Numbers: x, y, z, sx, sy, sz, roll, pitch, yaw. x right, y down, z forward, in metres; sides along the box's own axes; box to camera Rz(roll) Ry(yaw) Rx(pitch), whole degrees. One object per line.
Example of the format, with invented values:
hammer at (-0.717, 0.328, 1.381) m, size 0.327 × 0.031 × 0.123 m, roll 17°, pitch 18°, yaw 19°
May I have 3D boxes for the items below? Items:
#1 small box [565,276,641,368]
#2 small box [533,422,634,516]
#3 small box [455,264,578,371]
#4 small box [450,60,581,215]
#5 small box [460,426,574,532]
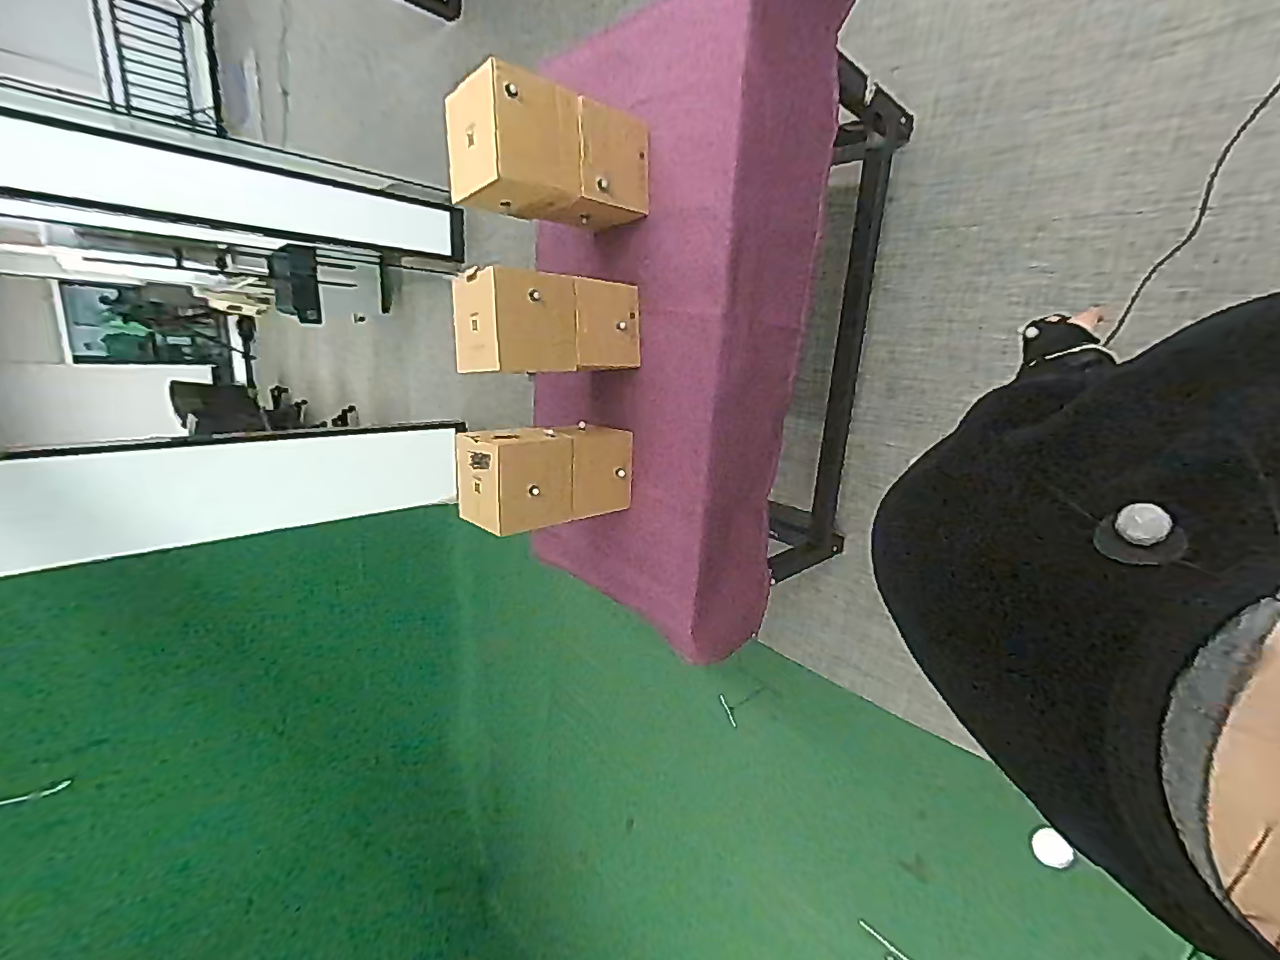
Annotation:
small box at (-0.117, -0.325, 1.145) m, size 0.179 × 0.176 × 0.168 m, roll 8°, pitch 104°, yaw 45°
small box at (-0.128, -0.034, 1.213) m, size 0.168 × 0.176 × 0.179 m, roll 15°, pitch 109°, yaw 44°
small box at (-0.232, -0.300, 1.032) m, size 0.168 × 0.176 × 0.179 m, roll 11°, pitch 106°, yaw 46°
small box at (-0.217, -0.586, 0.960) m, size 0.168 × 0.176 × 0.179 m, roll 9°, pitch 104°, yaw 46°
small box at (-0.247, -0.013, 1.101) m, size 0.168 × 0.176 × 0.179 m, roll 15°, pitch 109°, yaw 44°
